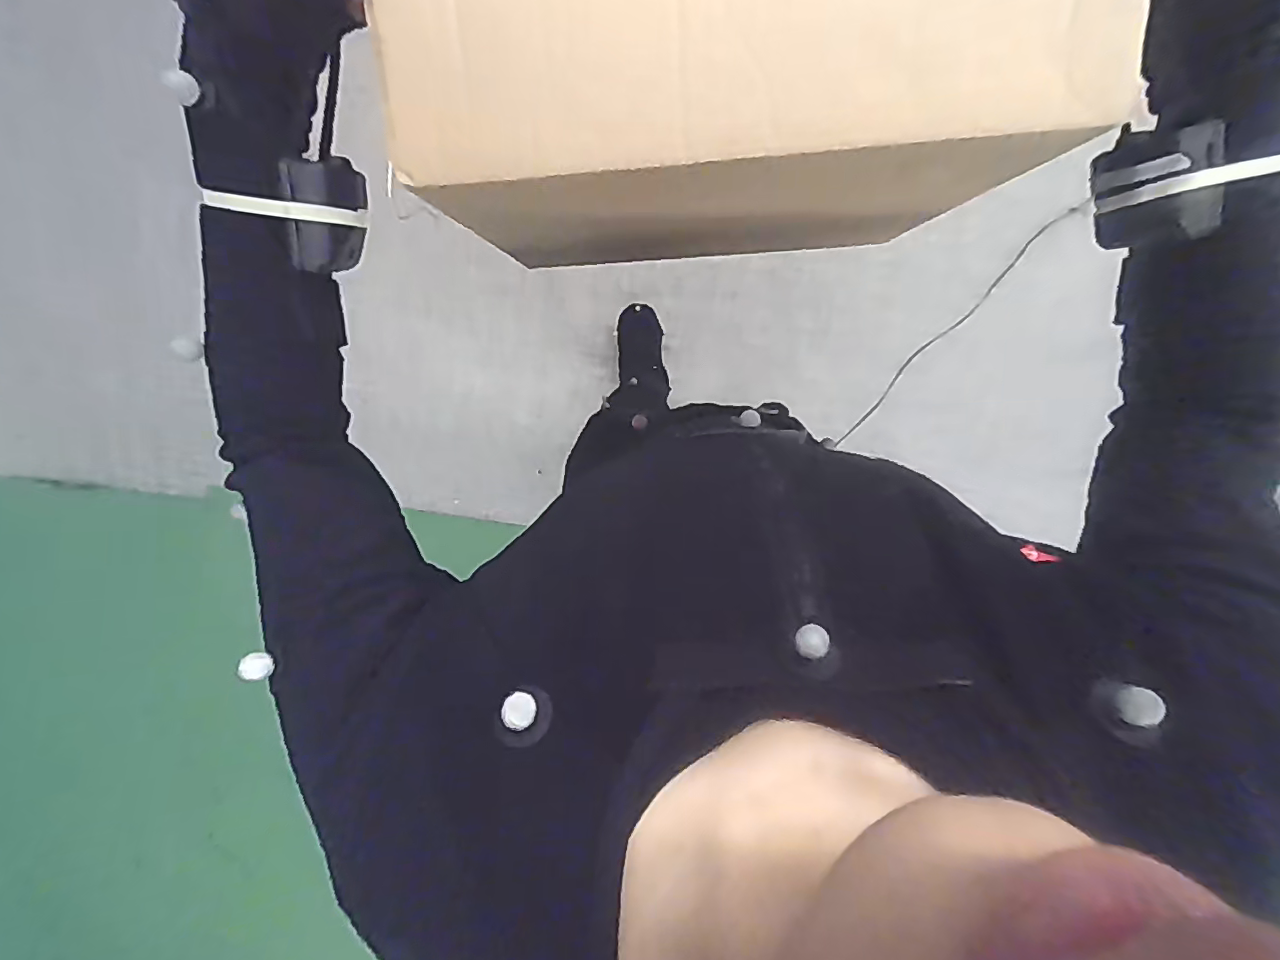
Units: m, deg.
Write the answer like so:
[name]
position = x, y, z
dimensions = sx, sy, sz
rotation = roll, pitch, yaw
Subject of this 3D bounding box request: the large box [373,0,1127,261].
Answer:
[large box]
position = 0.049, -0.371, 0.412
dimensions = 0.408, 0.320, 0.320
rotation = -4, 104, 2
